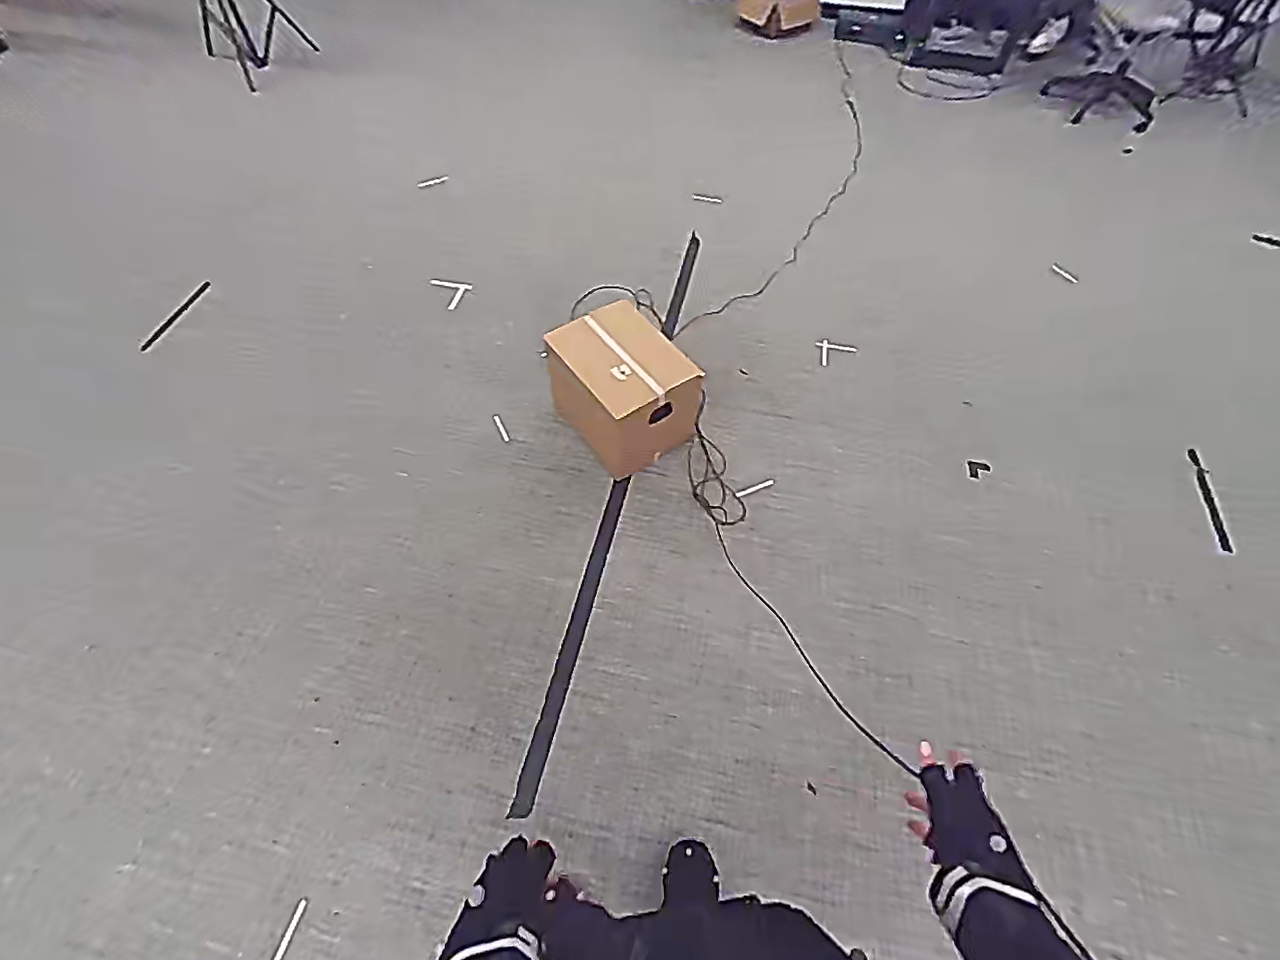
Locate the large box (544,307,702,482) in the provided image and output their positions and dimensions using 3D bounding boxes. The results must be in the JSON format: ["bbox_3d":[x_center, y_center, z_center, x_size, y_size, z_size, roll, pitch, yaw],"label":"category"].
[{"bbox_3d":[-0.063,-0.275,1.744,0.320,0.320,0.408,-31,64,-20],"label":"large box"}]
